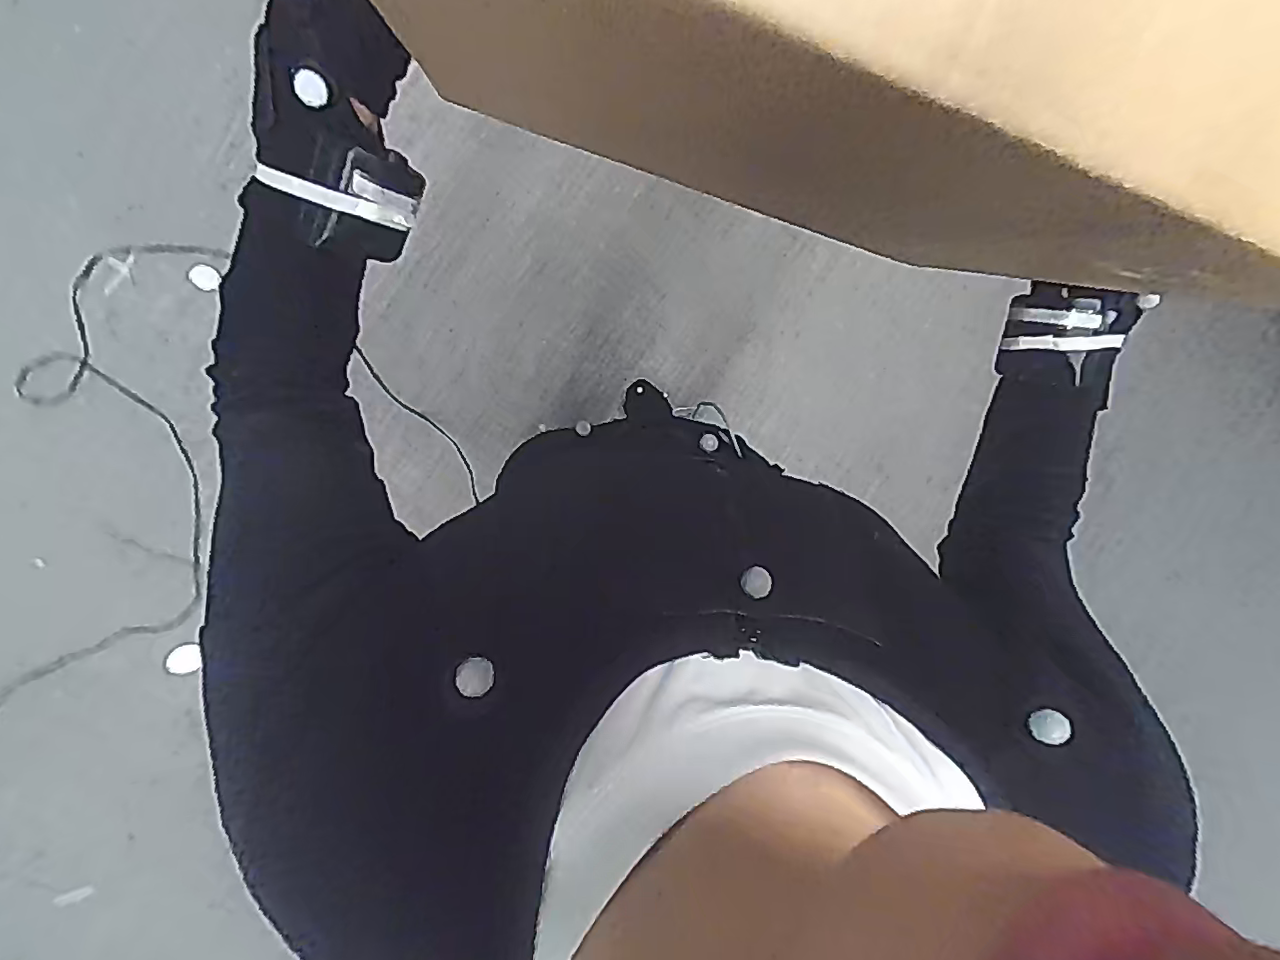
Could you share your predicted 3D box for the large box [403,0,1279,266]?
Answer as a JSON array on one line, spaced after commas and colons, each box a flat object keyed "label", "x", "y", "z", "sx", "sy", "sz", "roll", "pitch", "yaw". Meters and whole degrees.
[{"label": "large box", "x": 0.122, "y": -0.305, "z": 0.229, "sx": 0.408, "sy": 0.320, "sz": 0.320, "roll": 10, "pitch": 114, "yaw": -17}]
